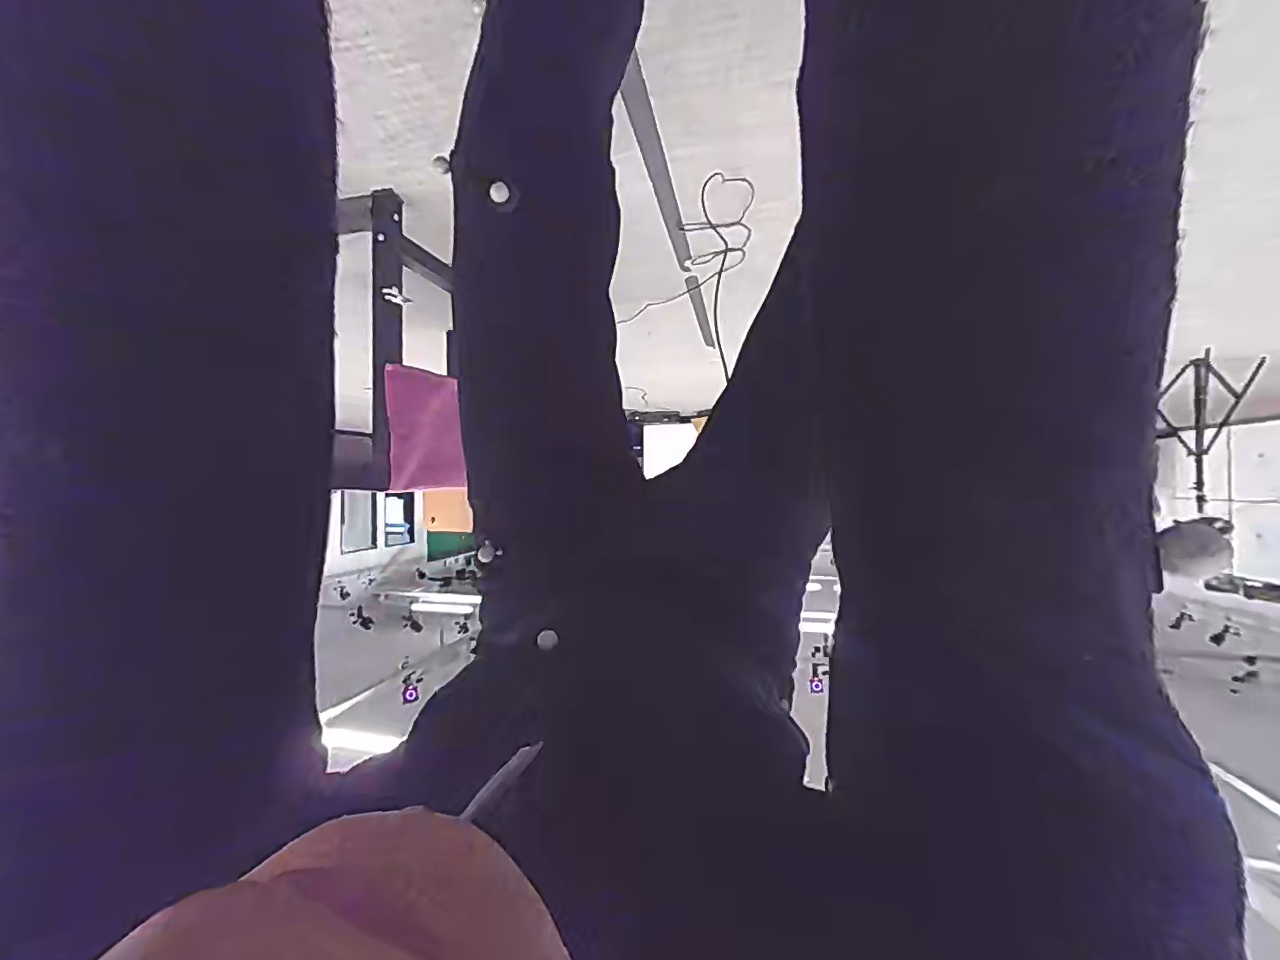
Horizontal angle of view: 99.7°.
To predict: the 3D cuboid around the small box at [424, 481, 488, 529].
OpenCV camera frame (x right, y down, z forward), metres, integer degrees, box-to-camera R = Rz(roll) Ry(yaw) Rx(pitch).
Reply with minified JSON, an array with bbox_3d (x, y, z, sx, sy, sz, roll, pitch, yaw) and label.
[{"bbox_3d":[-0.691,0.091,2.040,0.179,0.176,0.168,-1,180,18],"label":"small box"}]
